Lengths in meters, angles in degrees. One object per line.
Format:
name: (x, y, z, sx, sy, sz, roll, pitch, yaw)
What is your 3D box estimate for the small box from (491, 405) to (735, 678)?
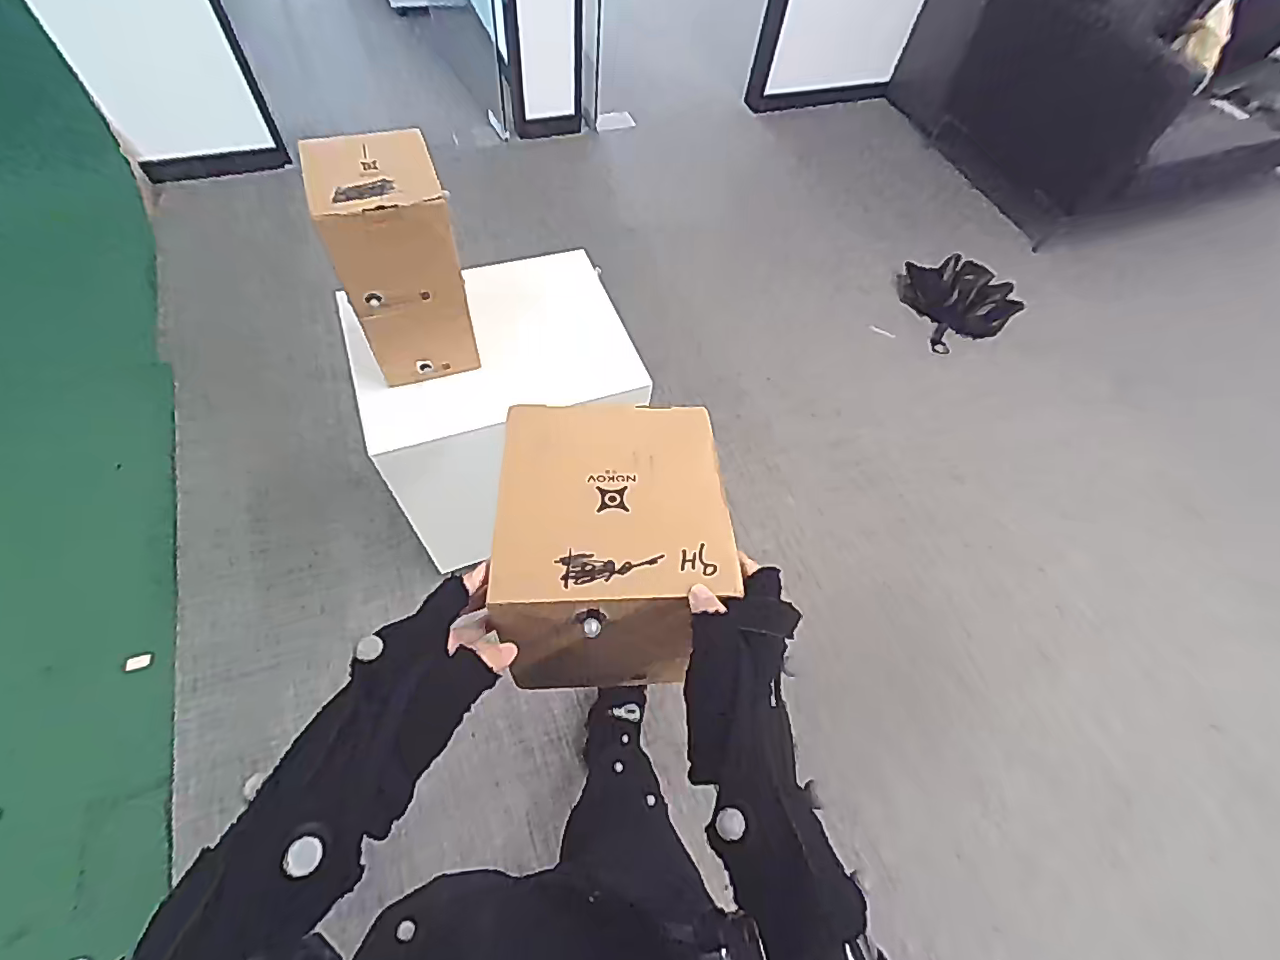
small box: (-0.027, 0.055, 0.470, 0.168, 0.176, 0.179, -1, 52, -5)

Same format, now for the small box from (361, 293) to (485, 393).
small box: (-0.383, -0.283, 0.946, 0.168, 0.176, 0.179, -18, 65, -15)

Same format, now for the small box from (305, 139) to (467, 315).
small box: (-0.368, -0.367, 0.805, 0.168, 0.176, 0.179, -16, 62, -15)
